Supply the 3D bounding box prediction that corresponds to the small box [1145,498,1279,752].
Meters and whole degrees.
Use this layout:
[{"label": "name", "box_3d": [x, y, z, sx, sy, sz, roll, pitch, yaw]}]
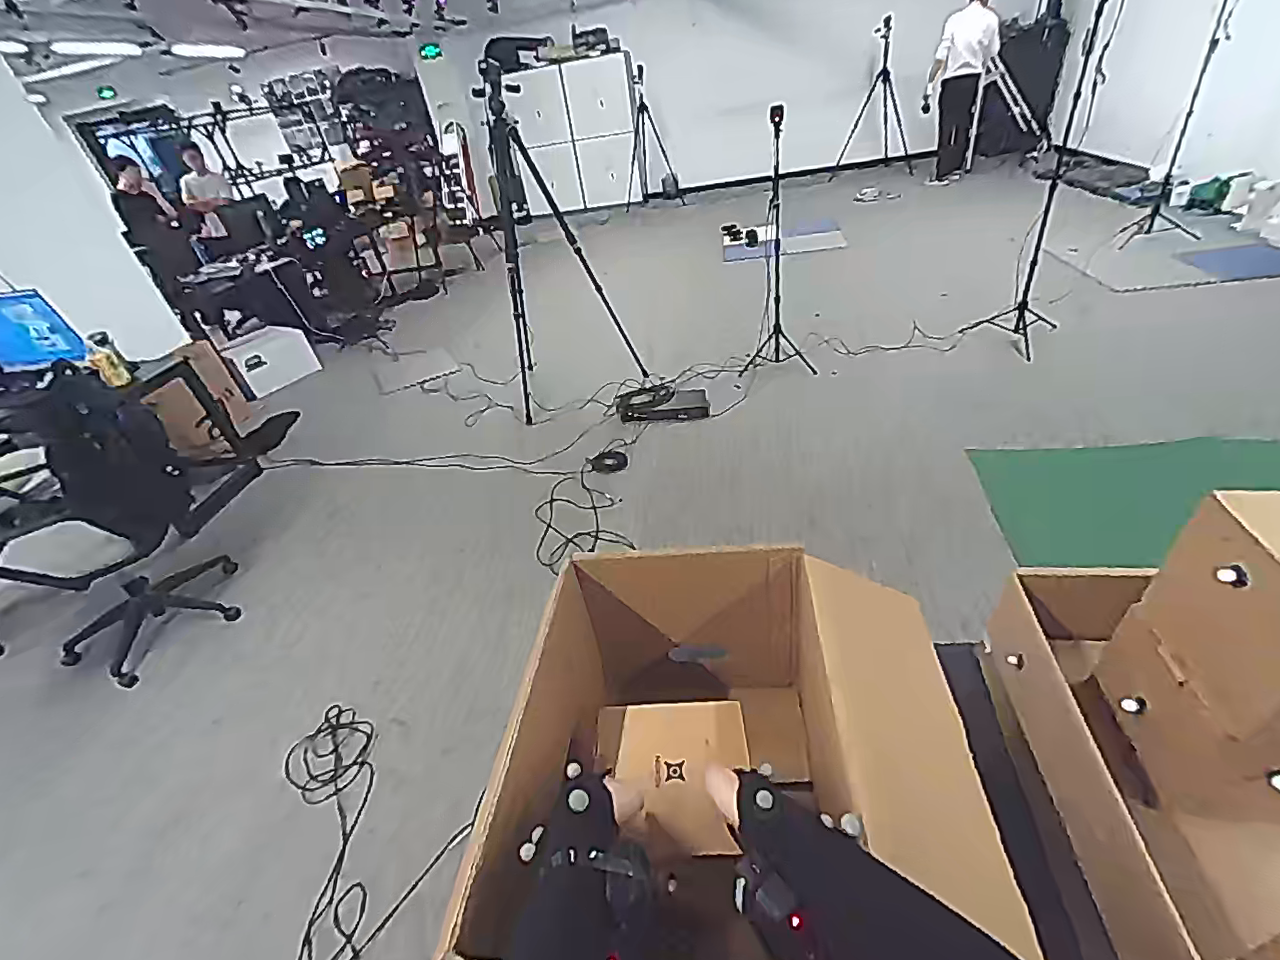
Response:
[{"label": "small box", "box_3d": [0.639, 0.135, 0.506, 0.168, 0.176, 0.179, -1, 39, 13]}]
